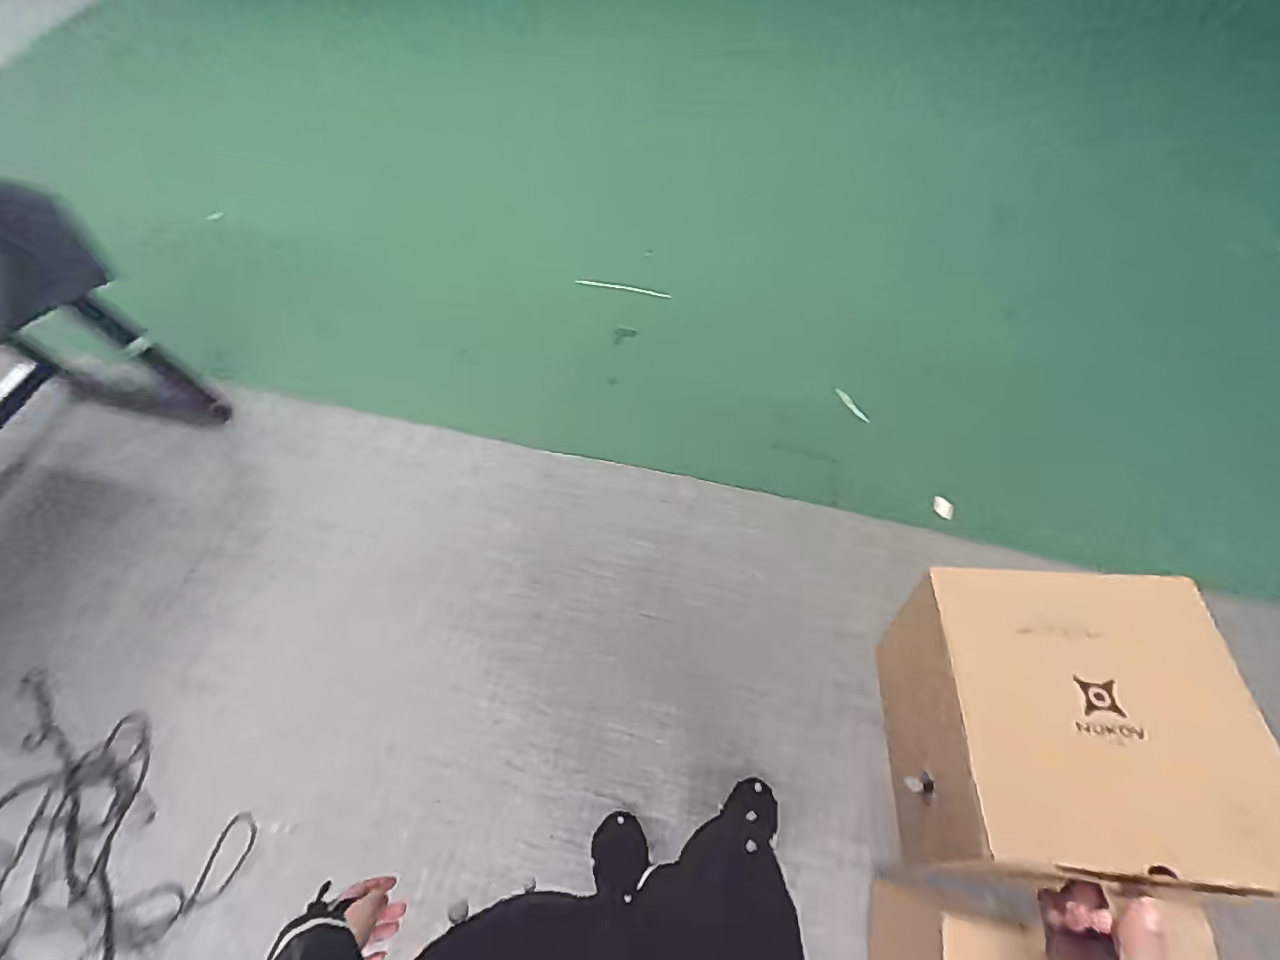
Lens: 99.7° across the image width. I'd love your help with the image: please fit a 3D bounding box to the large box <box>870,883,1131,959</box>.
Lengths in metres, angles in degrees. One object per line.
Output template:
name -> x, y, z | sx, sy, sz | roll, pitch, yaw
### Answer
large box -> 0.555, 0.906, 0.811 | 0.320, 0.320, 0.408 | 9, 64, 8
